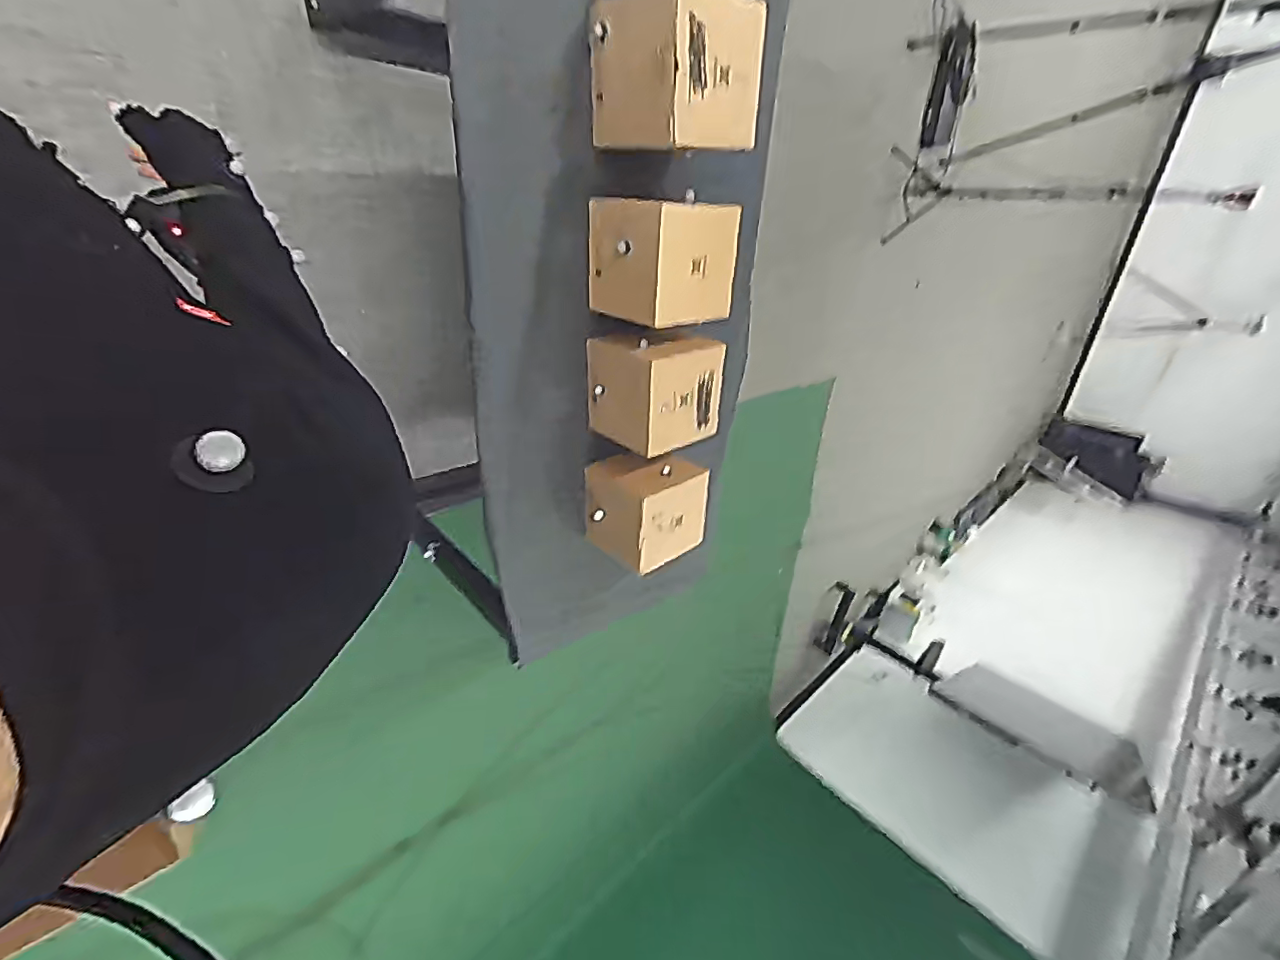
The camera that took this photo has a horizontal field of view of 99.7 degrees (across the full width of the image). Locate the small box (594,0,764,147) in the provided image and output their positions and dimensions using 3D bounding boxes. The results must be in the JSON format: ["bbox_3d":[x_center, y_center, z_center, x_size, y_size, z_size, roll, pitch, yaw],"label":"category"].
[{"bbox_3d":[0.047,-0.569,0.759,0.179,0.176,0.168,-25,128,-36],"label":"small box"}]

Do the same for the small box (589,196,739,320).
[{"bbox_3d":[0.031,-0.359,0.866,0.179,0.176,0.168,-21,126,-38],"label":"small box"}]

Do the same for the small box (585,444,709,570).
[{"bbox_3d":[0.011,0.042,1.069,0.179,0.176,0.168,-22,125,-37],"label":"small box"}]
